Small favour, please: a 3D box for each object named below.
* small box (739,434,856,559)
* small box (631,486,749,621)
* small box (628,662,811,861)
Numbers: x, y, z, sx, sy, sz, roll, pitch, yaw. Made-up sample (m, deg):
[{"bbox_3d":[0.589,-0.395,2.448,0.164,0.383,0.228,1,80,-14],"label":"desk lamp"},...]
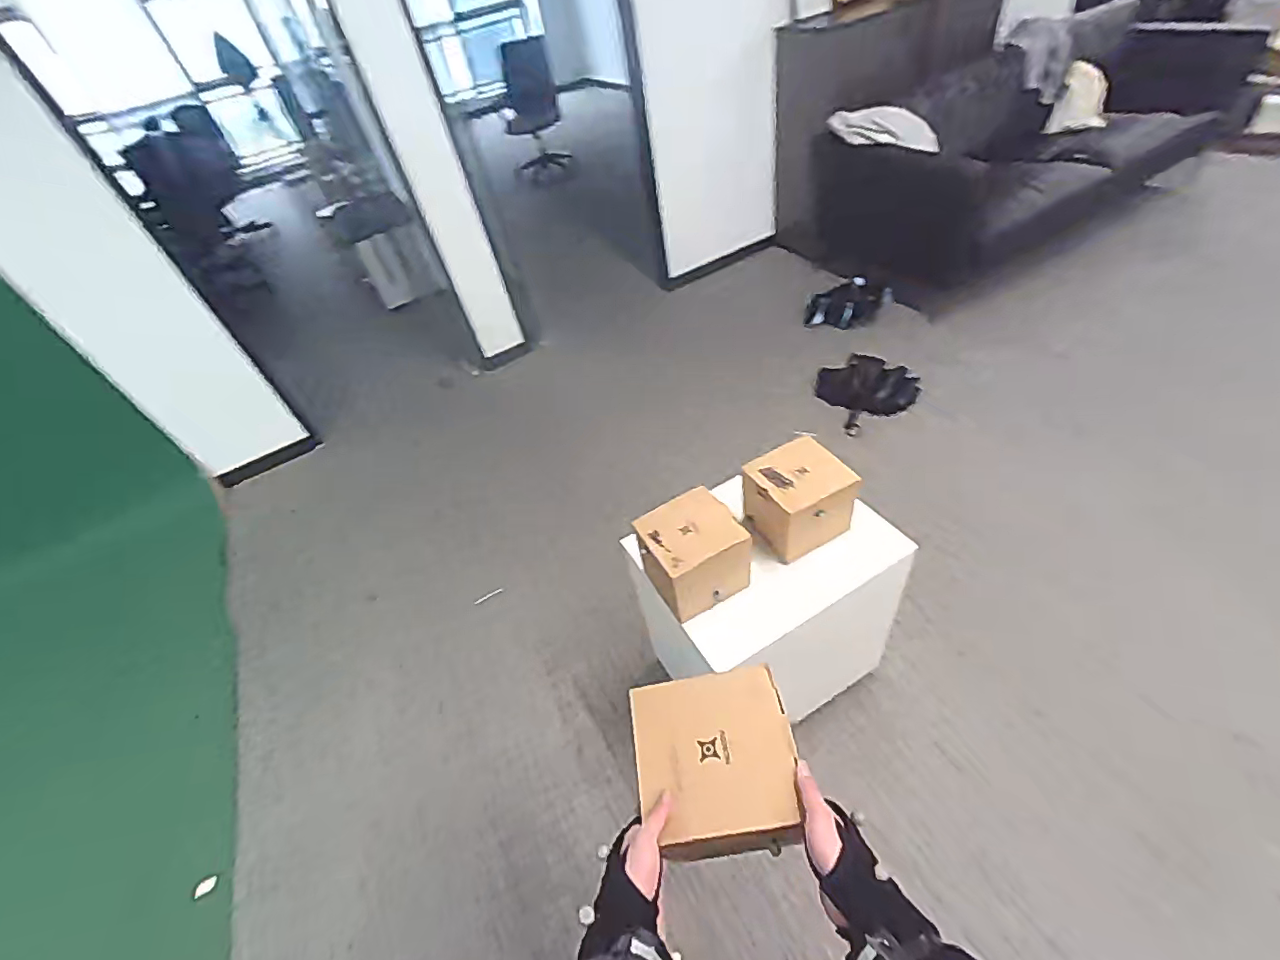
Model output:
[{"bbox_3d":[0.331,0.038,1.154,0.179,0.176,0.168,-25,46,-13],"label":"small box"},{"bbox_3d":[0.102,0.149,1.097,0.179,0.176,0.168,-26,46,-14],"label":"small box"},{"bbox_3d":[0.095,0.342,0.651,0.179,0.176,0.168,-14,48,7],"label":"small box"}]
